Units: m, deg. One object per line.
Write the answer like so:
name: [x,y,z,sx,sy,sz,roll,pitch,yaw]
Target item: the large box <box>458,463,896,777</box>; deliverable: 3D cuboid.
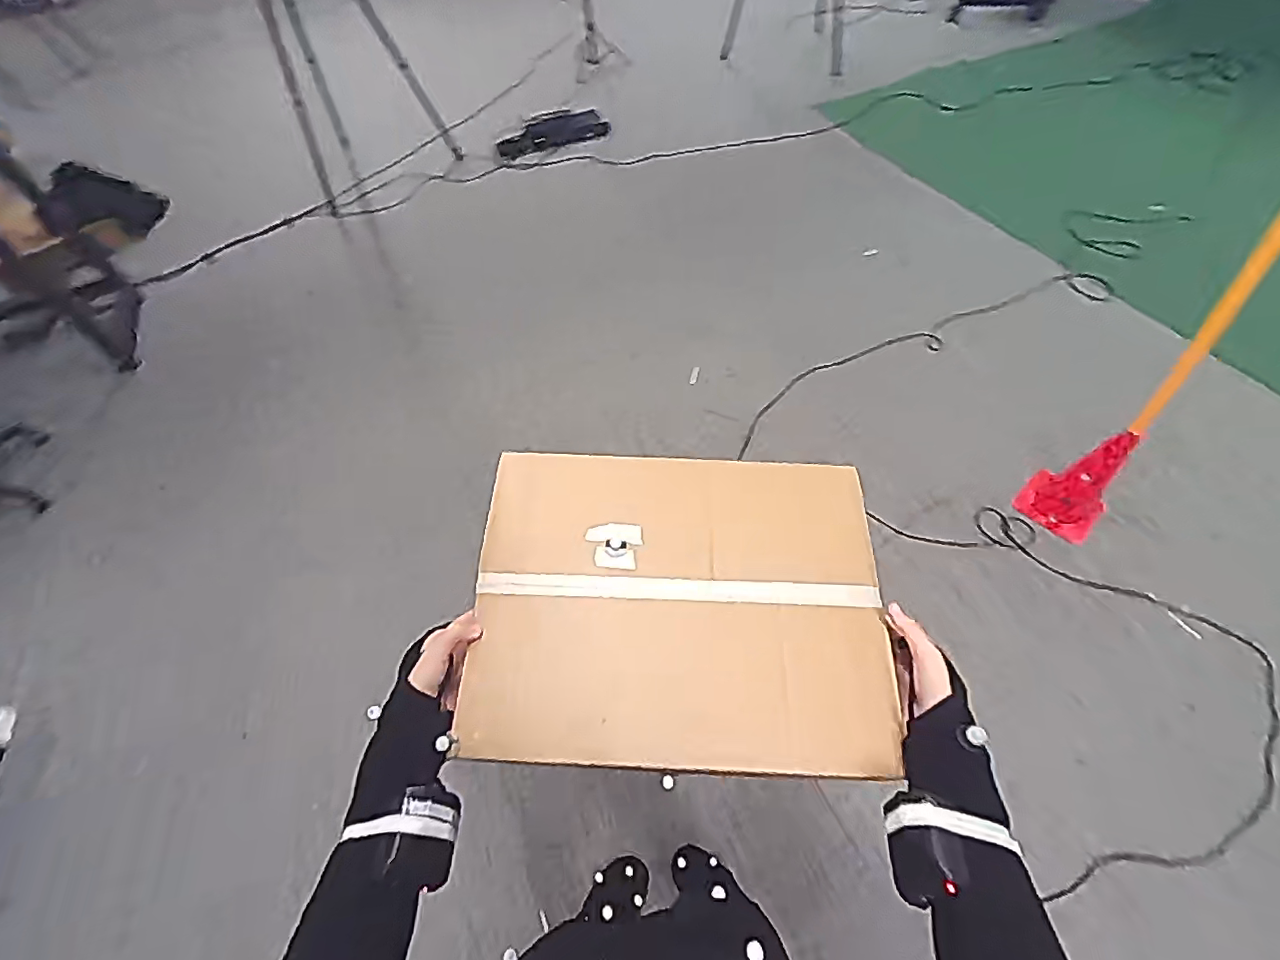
large box: [0.040,0.190,0.685,0.408,0.320,0.320,3,61,2]
